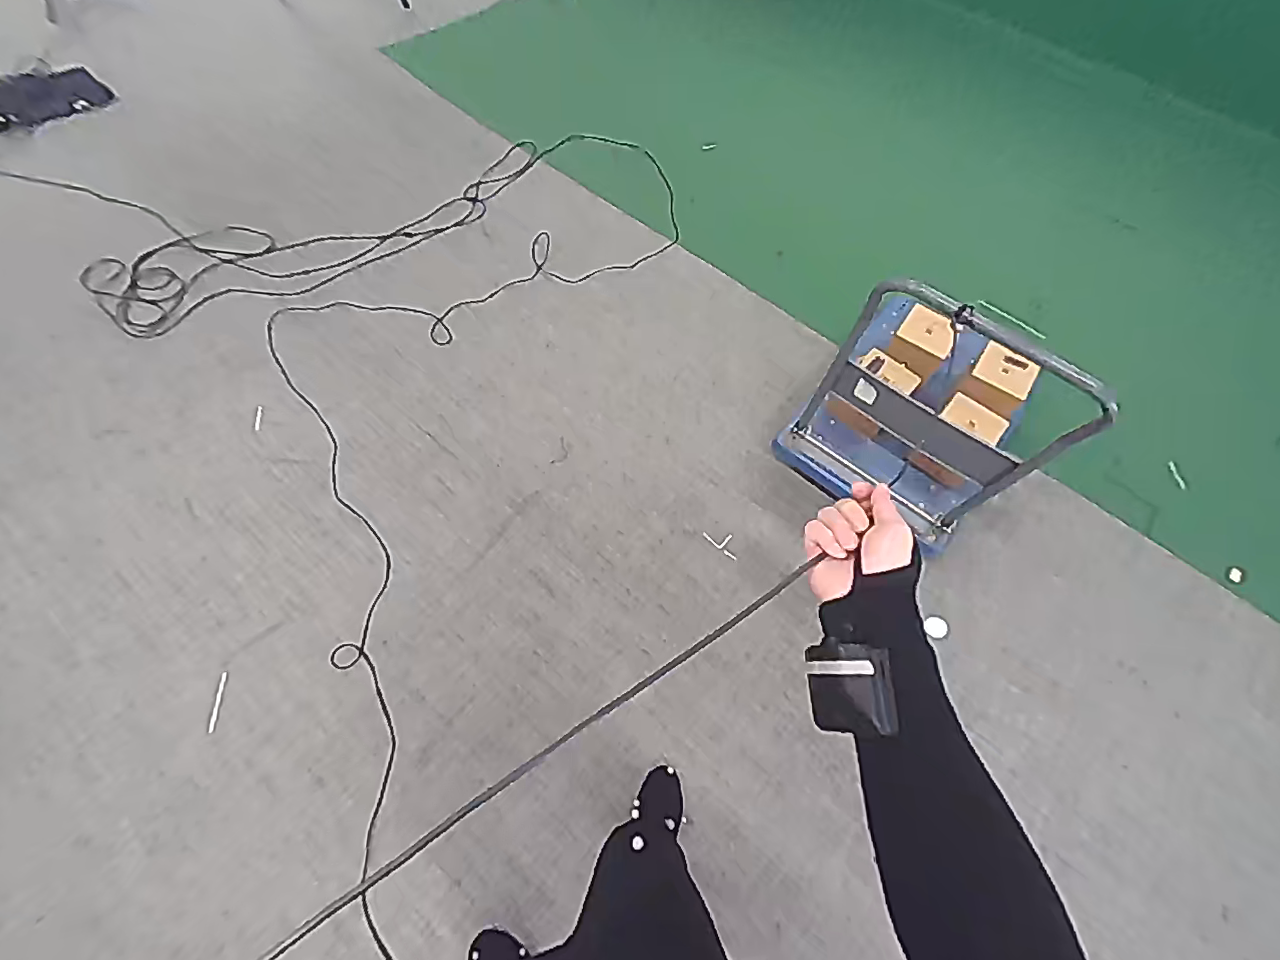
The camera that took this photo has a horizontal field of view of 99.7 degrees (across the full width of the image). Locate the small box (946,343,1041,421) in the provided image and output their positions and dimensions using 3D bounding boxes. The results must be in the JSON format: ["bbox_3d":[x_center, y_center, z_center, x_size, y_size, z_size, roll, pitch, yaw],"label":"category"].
[{"bbox_3d":[1.113,-0.293,1.716,0.168,0.176,0.179,34,66,14],"label":"small box"}]

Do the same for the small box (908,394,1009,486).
[{"bbox_3d":[0.939,-0.115,1.610,0.168,0.176,0.179,39,67,15],"label":"small box"}]

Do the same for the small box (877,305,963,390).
[{"bbox_3d":[0.910,-0.429,1.774,0.168,0.176,0.179,35,65,13],"label":"small box"}]
